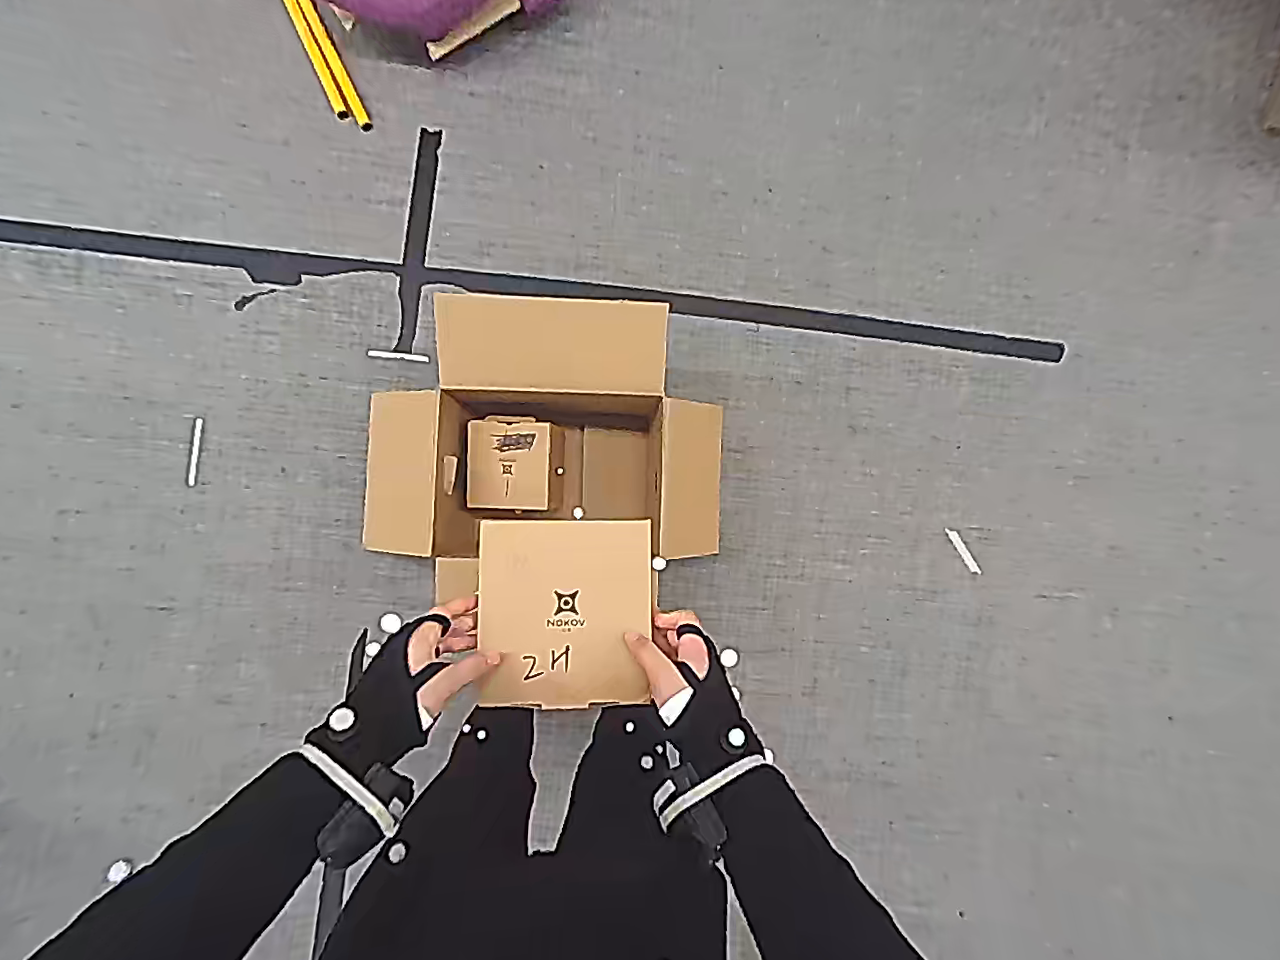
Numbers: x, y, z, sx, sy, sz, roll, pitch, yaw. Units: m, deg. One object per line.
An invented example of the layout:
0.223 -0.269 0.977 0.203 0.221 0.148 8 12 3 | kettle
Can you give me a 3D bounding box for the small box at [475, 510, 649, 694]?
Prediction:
-0.078 0.126 0.603 0.168 0.176 0.179 0 84 -2 | small box
